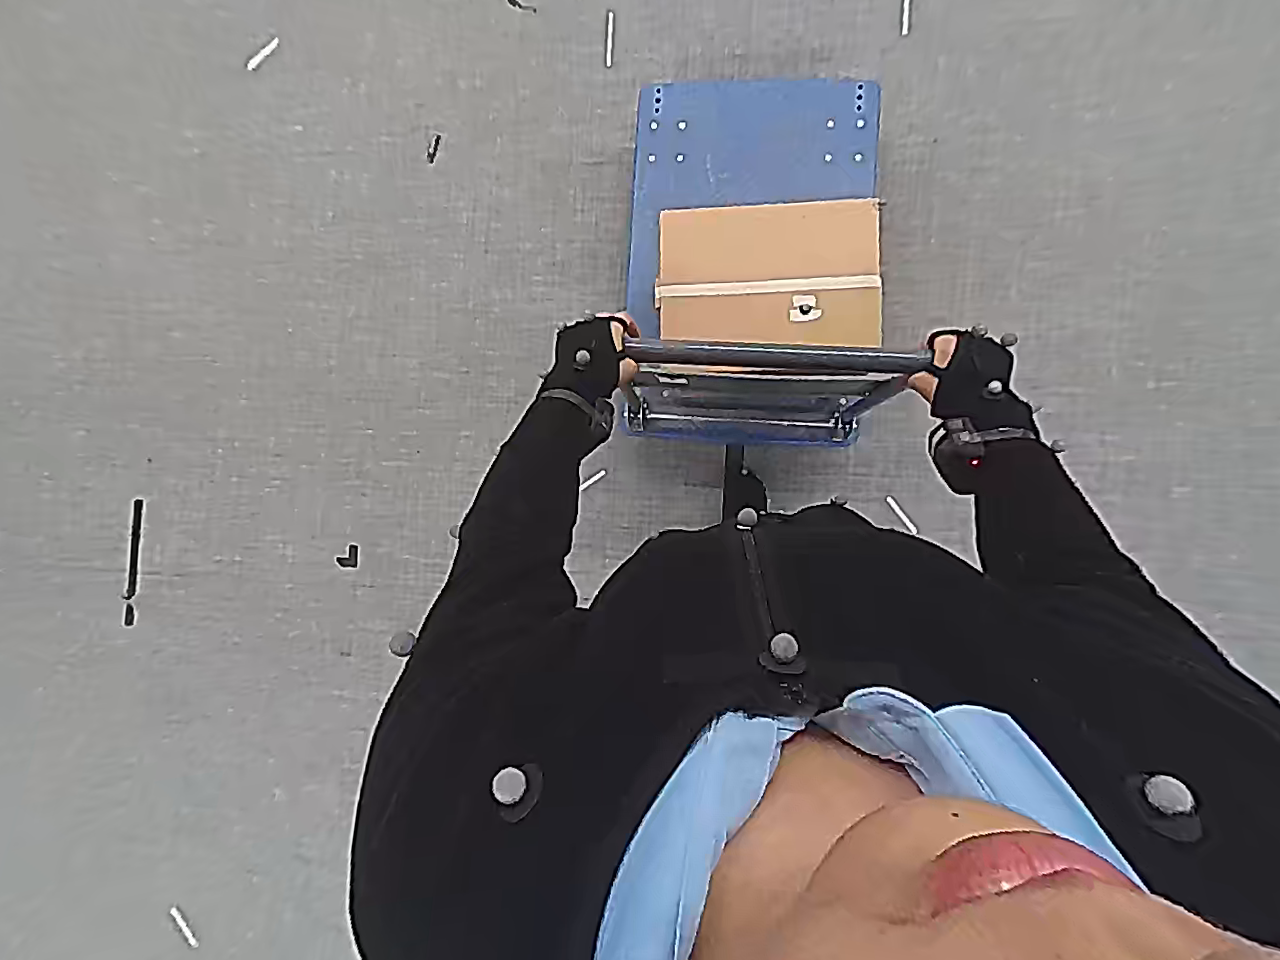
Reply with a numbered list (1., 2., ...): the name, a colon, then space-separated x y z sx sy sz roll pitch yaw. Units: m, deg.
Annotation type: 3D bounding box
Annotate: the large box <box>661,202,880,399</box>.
1. large box: 0.256 -0.357 1.166 0.408 0.320 0.320 -1 90 5
